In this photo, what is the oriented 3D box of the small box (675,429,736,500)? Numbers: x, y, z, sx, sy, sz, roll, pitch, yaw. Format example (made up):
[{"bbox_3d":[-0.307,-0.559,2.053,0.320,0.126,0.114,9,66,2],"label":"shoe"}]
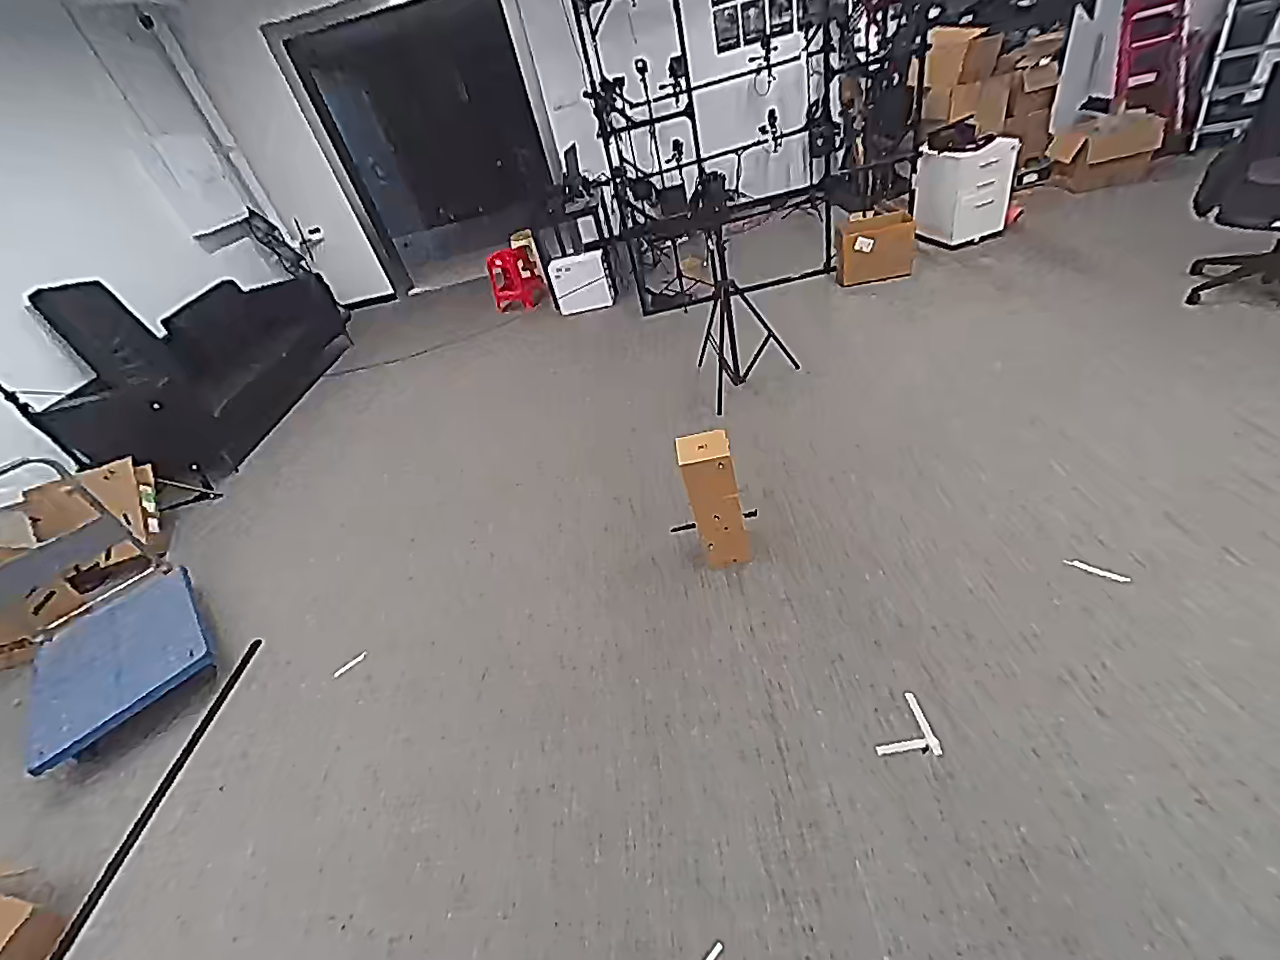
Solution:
[{"bbox_3d":[0.225,-0.050,1.870,0.179,0.176,0.168,-11,37,7],"label":"small box"}]

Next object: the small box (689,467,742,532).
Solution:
[{"bbox_3d":[0.273,0.075,1.963,0.168,0.176,0.179,-8,36,10],"label":"small box"}]
